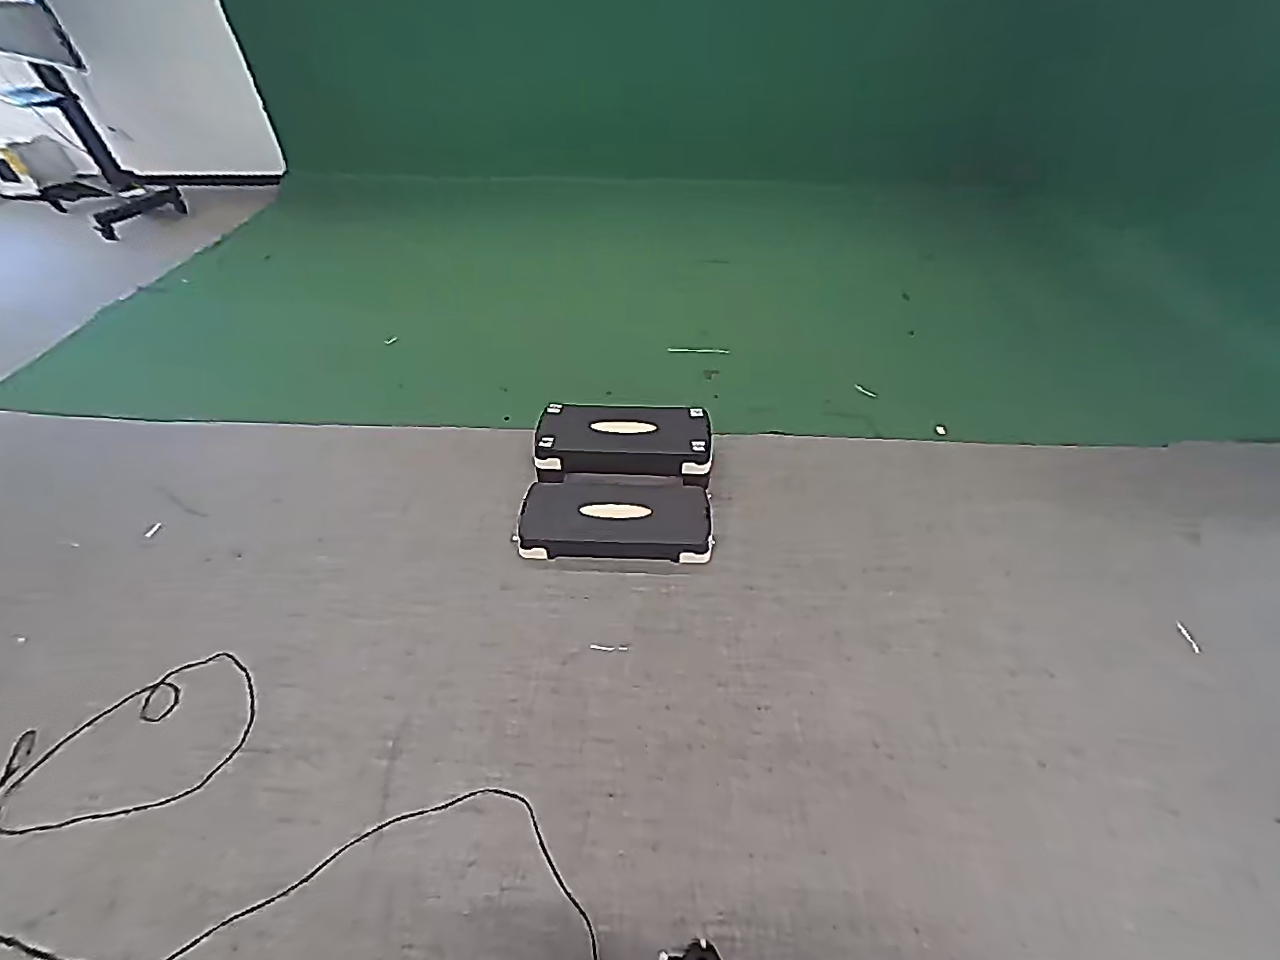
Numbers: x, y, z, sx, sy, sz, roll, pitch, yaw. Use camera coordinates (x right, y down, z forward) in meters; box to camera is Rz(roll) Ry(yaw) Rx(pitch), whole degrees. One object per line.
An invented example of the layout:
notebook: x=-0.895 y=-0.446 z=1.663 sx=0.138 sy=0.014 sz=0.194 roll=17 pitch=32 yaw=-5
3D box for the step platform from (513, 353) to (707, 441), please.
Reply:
step platform: x=-0.102 y=-0.303 z=1.982 sx=0.684 sy=0.204 sz=0.286 roll=1 pitch=46 yaw=2
